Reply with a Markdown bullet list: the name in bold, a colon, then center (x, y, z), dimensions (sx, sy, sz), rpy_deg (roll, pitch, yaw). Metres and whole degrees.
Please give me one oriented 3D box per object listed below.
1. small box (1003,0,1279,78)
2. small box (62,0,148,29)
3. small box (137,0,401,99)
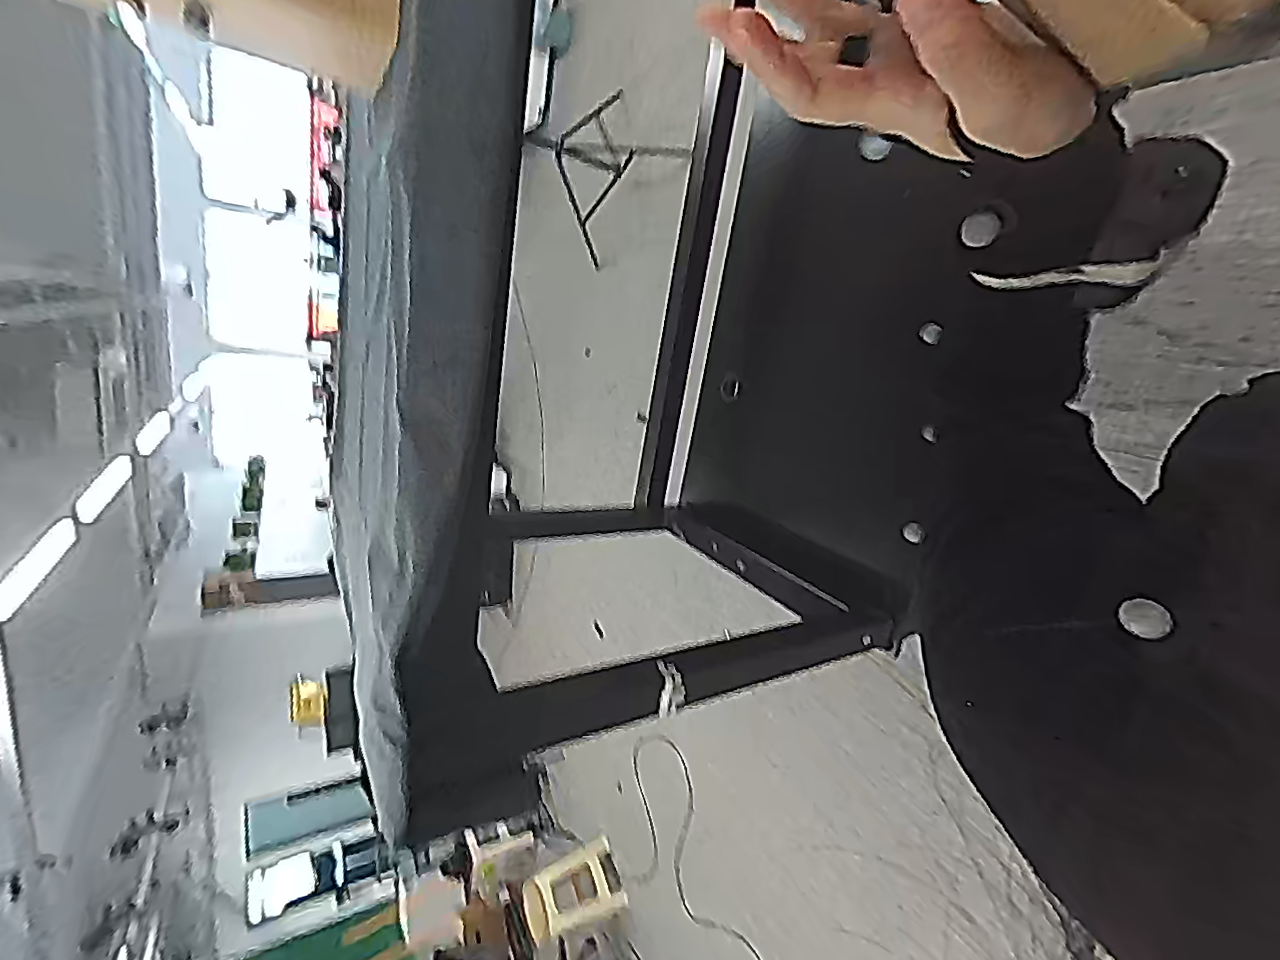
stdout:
- **small box**: center (0.131, -0.218, 0.101), dimensions (0.168, 0.176, 0.179), rpy_deg (44, 135, 2)
- **small box**: center (-0.402, -0.407, 0.300), dimensions (0.168, 0.176, 0.179), rpy_deg (37, 122, 54)
- **small box**: center (-0.266, -0.412, 0.393), dimensions (0.179, 0.176, 0.168), rpy_deg (36, 120, 53)
